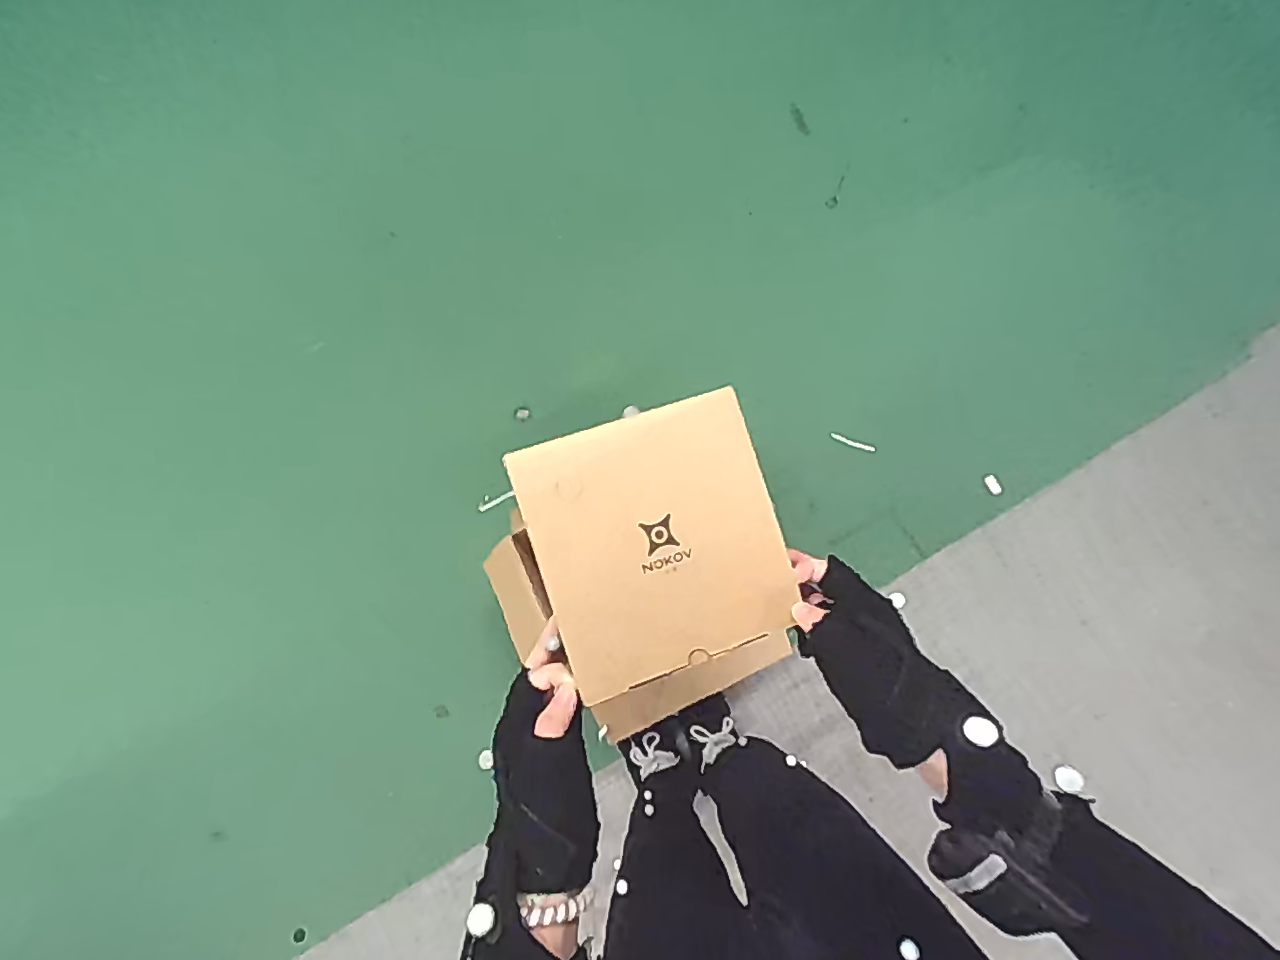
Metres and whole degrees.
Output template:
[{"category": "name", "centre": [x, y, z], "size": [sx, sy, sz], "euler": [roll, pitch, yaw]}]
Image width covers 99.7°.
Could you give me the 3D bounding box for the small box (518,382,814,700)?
[{"category": "small box", "centre": [0.006, 0.039, 0.437], "size": [0.168, 0.176, 0.179], "euler": [-18, 93, -10]}]
